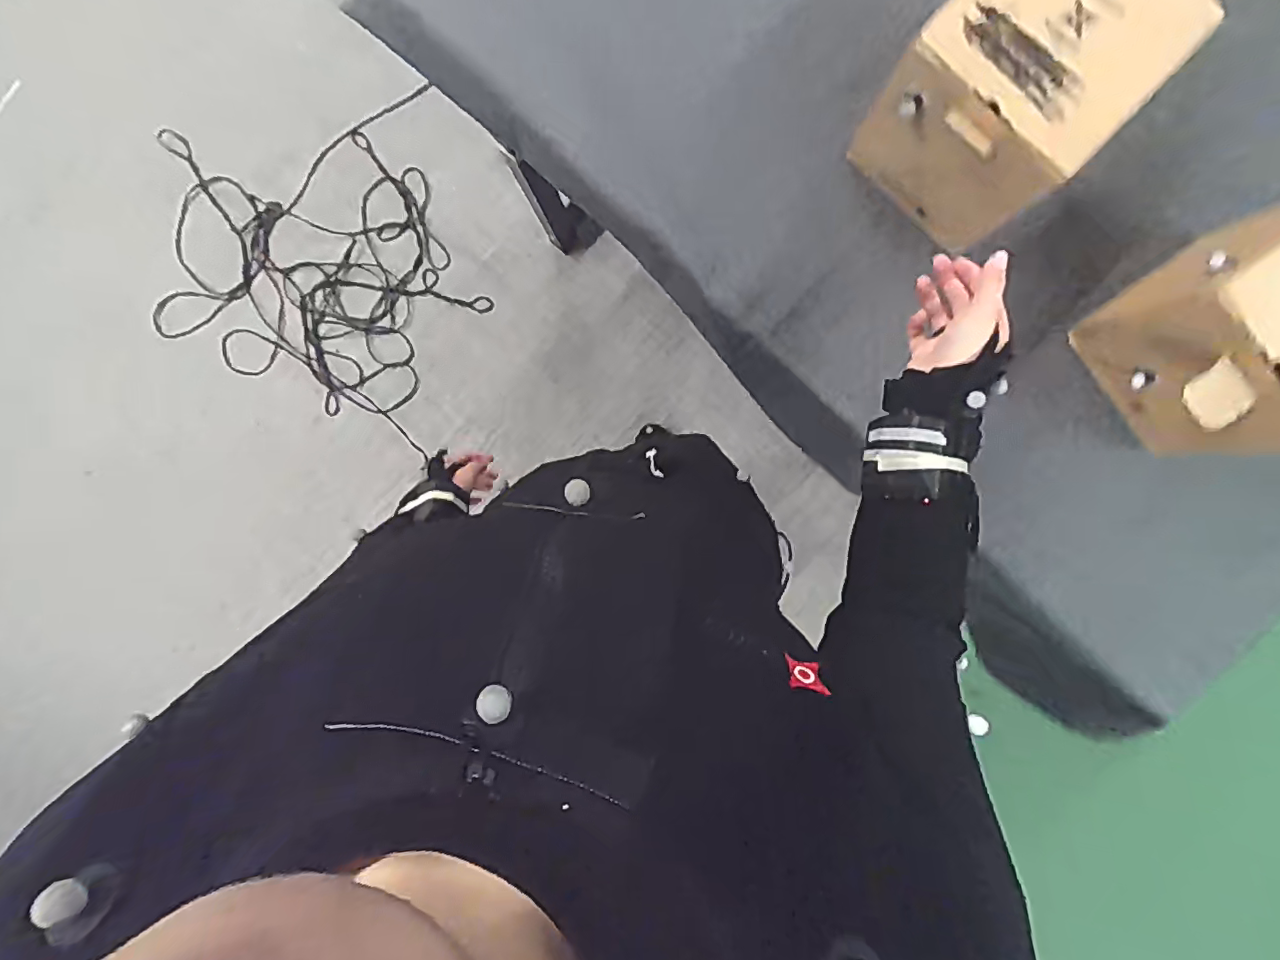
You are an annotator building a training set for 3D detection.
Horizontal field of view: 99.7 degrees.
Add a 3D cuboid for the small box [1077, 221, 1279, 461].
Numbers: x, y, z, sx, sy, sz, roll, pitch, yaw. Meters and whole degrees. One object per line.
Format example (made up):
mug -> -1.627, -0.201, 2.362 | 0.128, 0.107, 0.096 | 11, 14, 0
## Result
small box -> 0.583, -0.134, 0.509 | 0.179, 0.176, 0.168 | -36, 91, 4
